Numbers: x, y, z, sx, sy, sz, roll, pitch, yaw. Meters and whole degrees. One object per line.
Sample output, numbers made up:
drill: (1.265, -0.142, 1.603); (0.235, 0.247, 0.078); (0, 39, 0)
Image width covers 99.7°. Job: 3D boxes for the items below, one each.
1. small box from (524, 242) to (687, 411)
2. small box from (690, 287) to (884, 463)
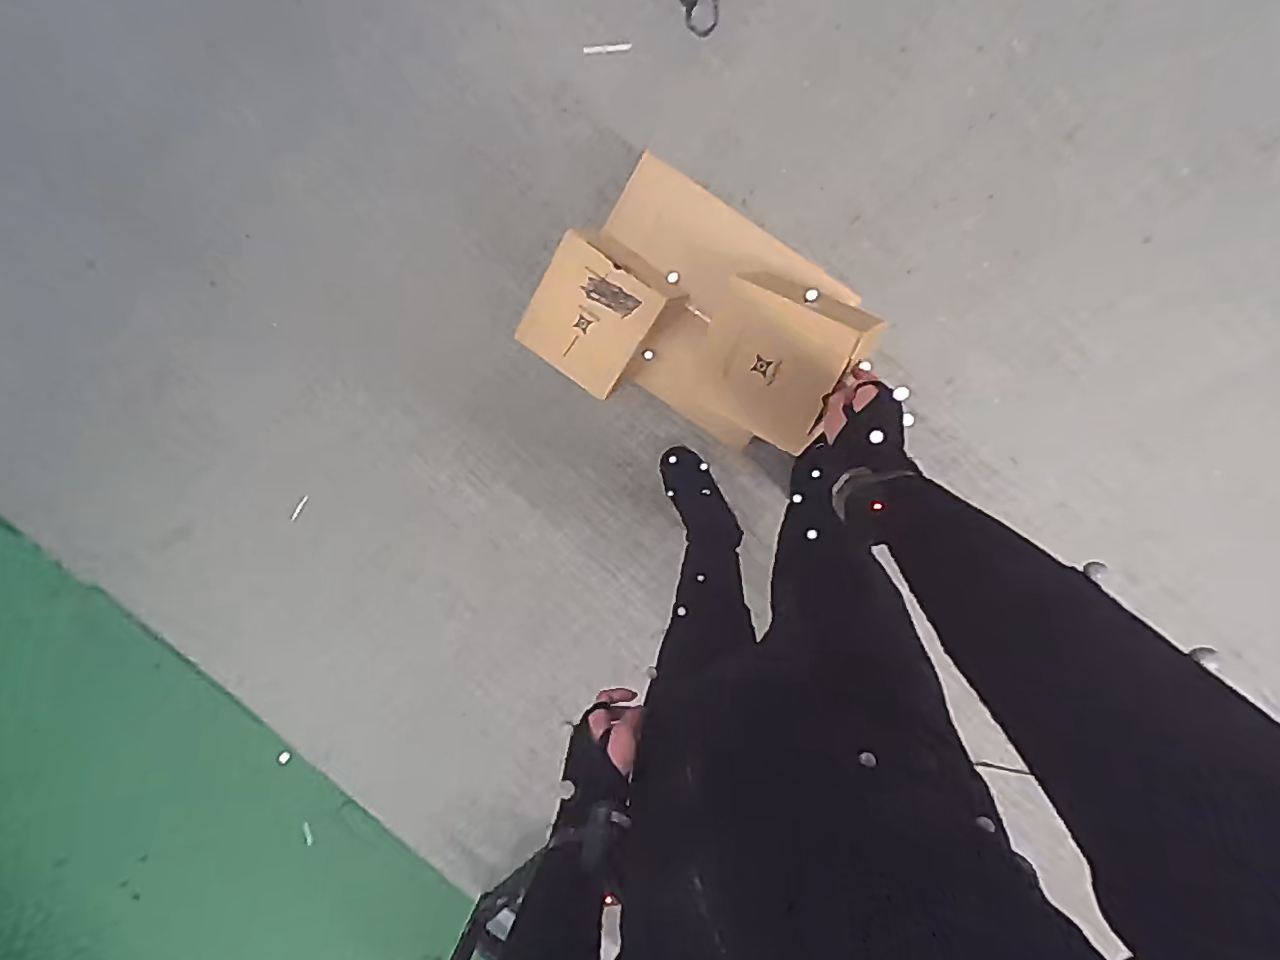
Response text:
small box: (-0.042, -0.239, 0.833); (0.168, 0.176, 0.179); (37, 116, 1)
small box: (0.202, -0.152, 0.729); (0.179, 0.176, 0.168); (32, 121, 20)
